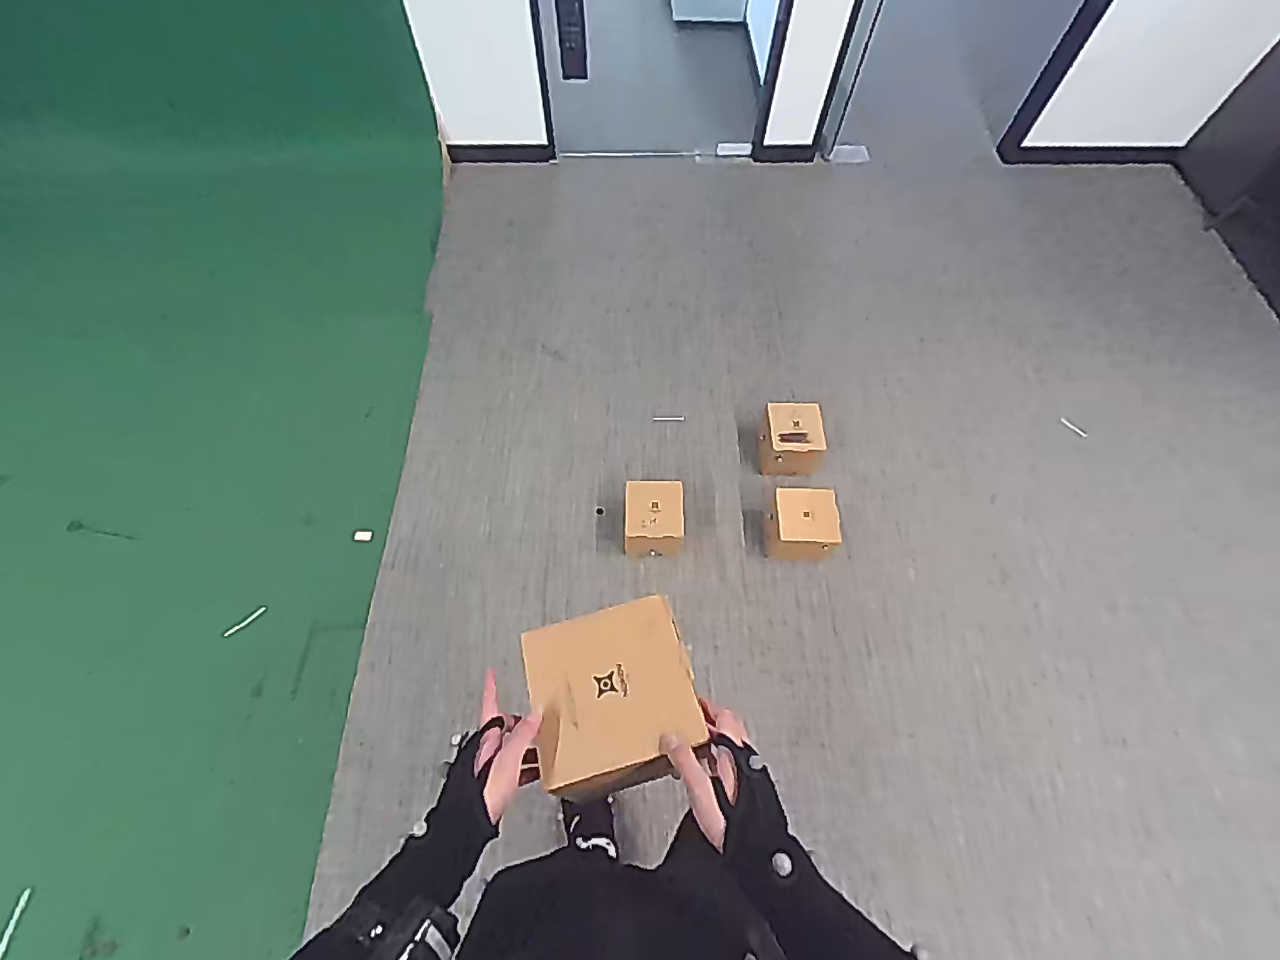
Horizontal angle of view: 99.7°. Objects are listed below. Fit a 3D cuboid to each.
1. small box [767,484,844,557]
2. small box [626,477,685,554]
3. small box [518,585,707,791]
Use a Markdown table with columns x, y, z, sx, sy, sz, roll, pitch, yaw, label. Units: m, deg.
| x | y | z | sx | sy | sz | roll | pitch | yaw | label |
| --- | --- | --- | --- | --- | --- | --- | --- | --- | --- |
| 0.478 | 0.123 | 1.592 | 0.179 | 0.176 | 0.168 | 2 | 63 | -1 | small box |
| 0.044 | 0.106 | 1.591 | 0.168 | 0.176 | 0.179 | 1 | 63 | 0 | small box |
| -0.028 | 0.247 | 0.632 | 0.179 | 0.176 | 0.168 | -15 | 55 | -2 | small box |
